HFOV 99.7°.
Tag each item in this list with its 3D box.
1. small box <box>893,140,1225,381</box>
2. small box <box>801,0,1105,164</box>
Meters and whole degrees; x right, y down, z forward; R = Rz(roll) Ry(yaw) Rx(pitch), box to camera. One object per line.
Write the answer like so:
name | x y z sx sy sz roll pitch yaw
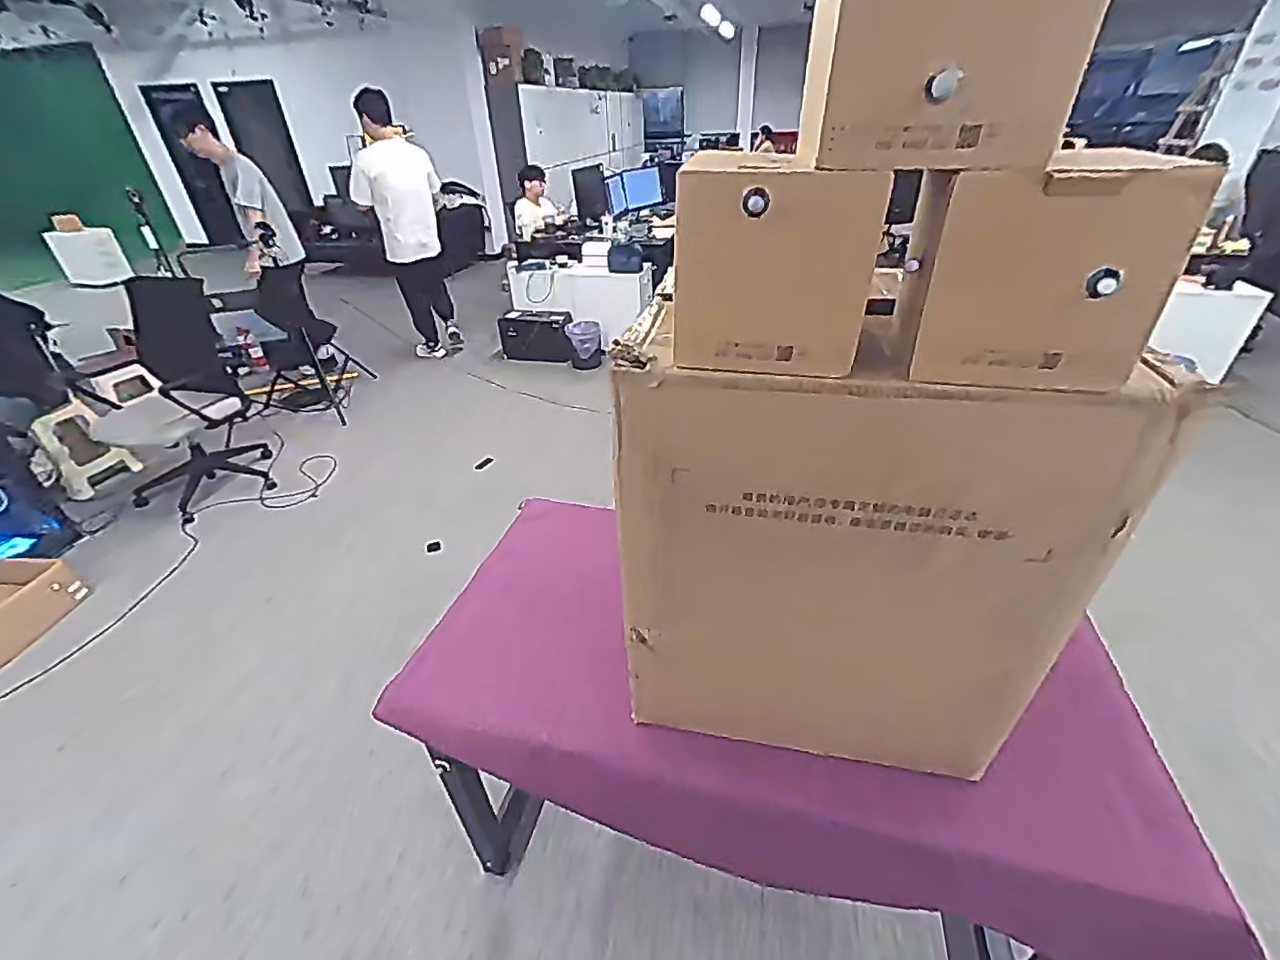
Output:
small box | 0.336 -0.198 0.484 0.168 0.176 0.179 8 34 15
small box | 0.225 -0.349 0.419 0.168 0.176 0.179 4 35 8
